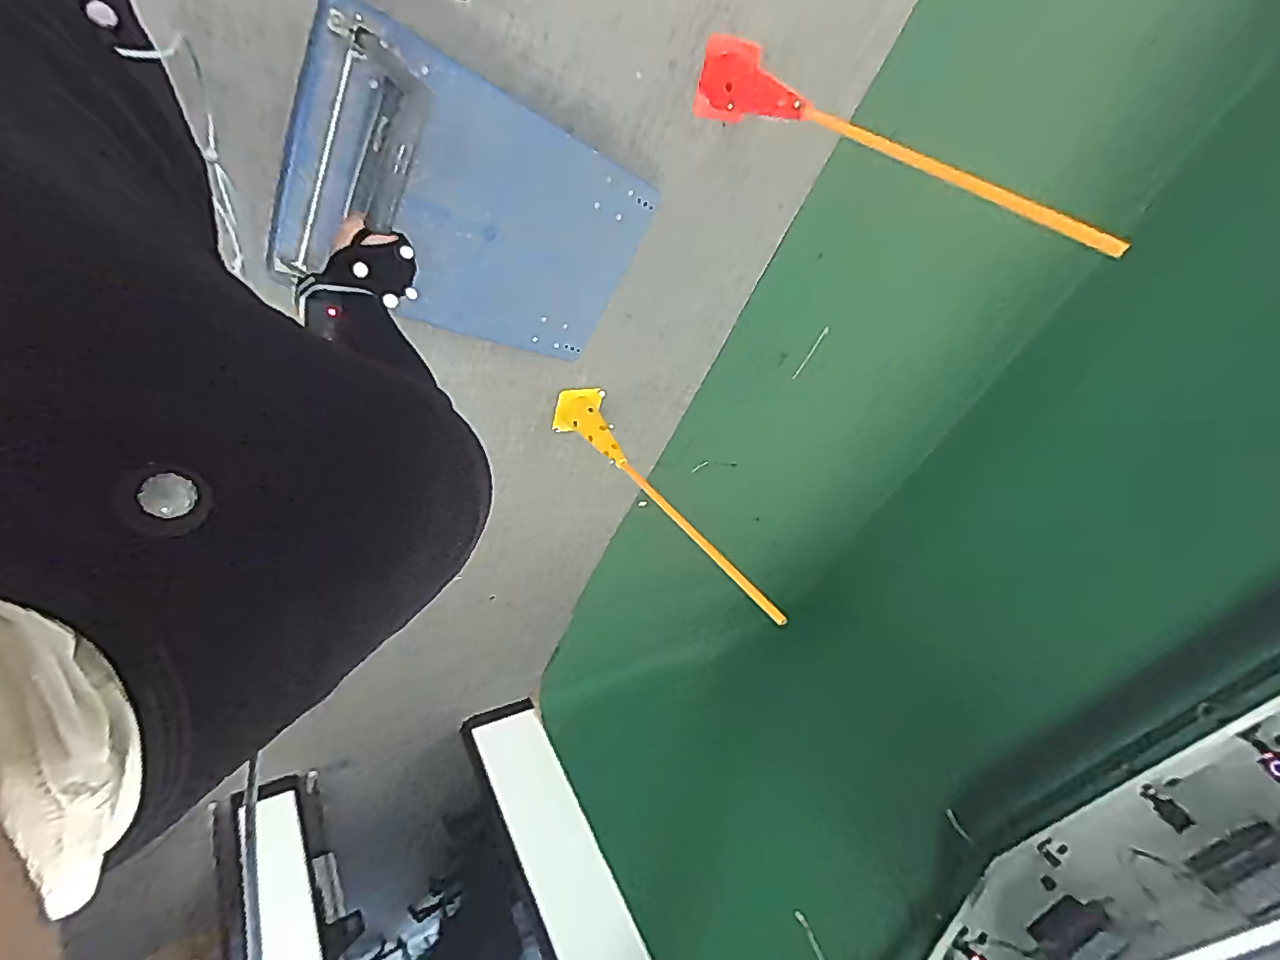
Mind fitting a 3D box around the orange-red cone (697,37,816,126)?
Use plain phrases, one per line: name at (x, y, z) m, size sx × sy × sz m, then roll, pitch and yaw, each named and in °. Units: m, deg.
orange-red cone at (0.354, -1.075, 1.514) m, size 0.198 × 0.360 × 0.199 m, roll -14°, pitch 137°, yaw -32°
